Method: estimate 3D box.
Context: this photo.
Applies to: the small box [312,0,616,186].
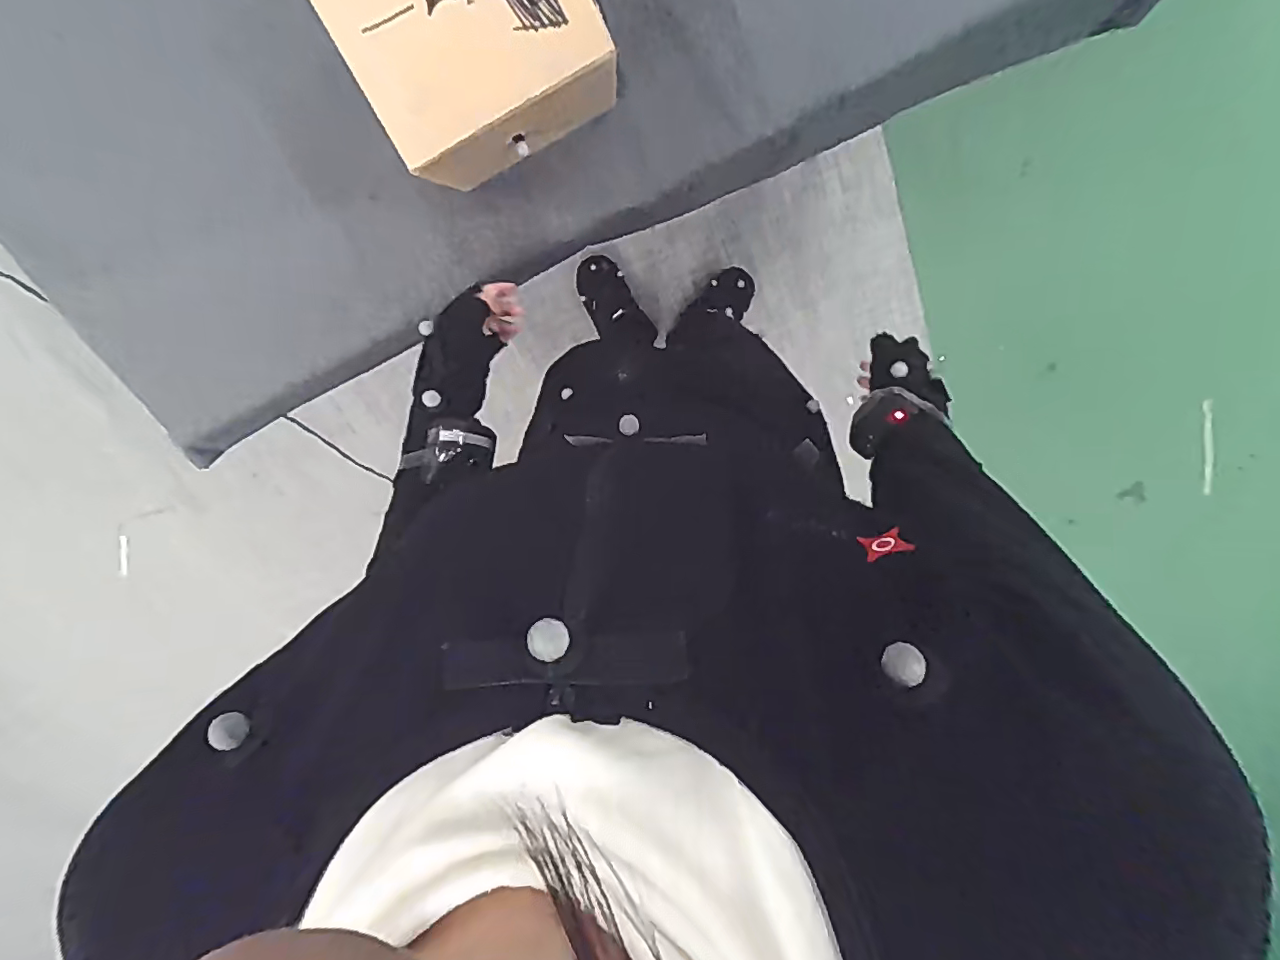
[{"bbox_3d":[-0.132,-0.364,0.436,0.179,0.176,0.168,-25,112,9],"label":"small box"}]
